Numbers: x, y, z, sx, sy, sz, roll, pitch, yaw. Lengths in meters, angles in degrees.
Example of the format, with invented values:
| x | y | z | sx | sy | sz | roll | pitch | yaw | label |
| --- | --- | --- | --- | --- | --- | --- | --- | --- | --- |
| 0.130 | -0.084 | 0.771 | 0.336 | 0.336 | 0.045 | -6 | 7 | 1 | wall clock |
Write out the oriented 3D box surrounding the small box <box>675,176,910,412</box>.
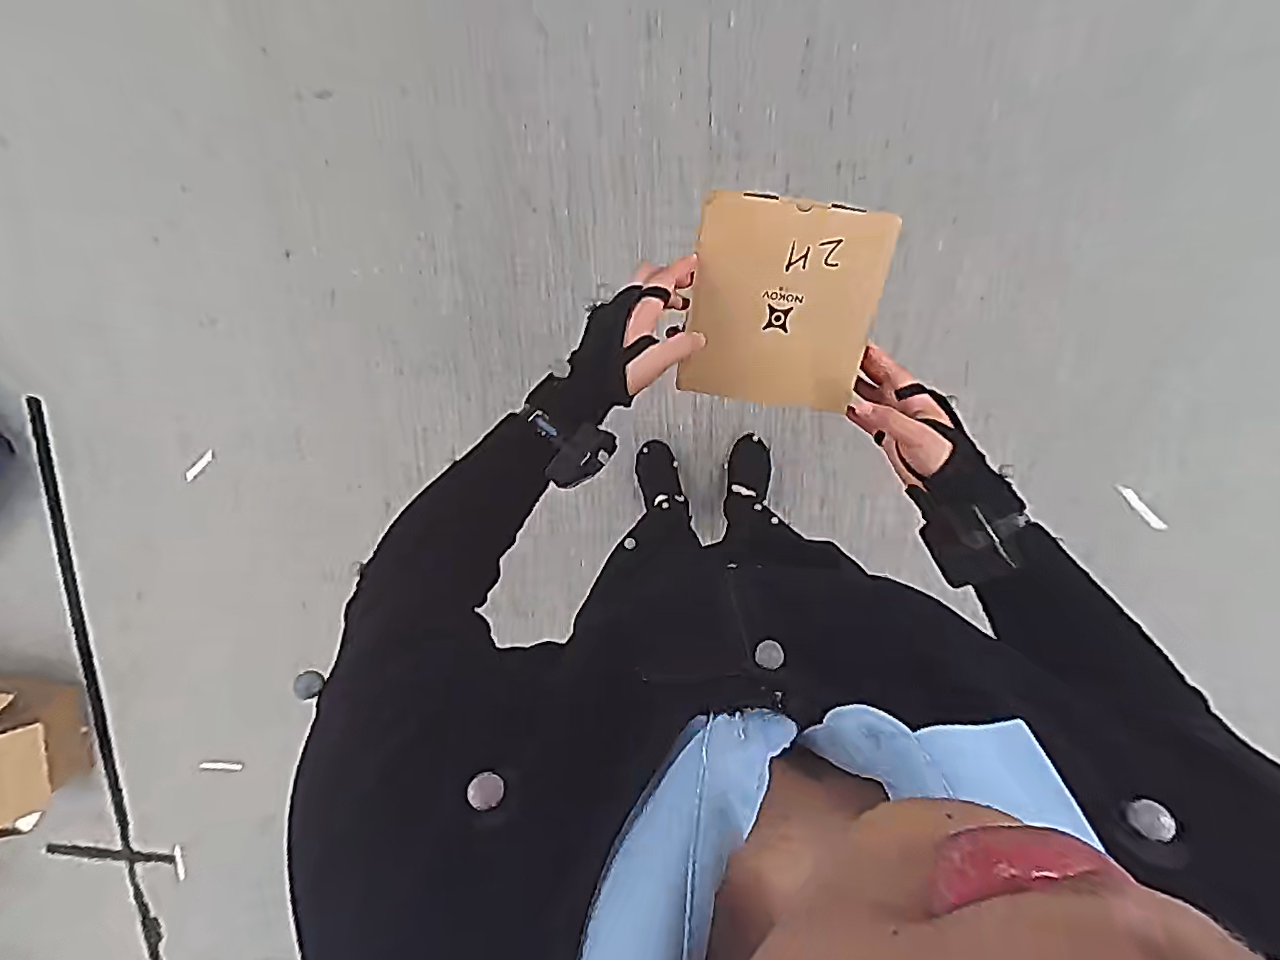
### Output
| x | y | z | sx | sy | sz | roll | pitch | yaw | label |
| --- | --- | --- | --- | --- | --- | --- | --- | --- | --- |
| 0.132 | -0.185 | 0.537 | 0.168 | 0.176 | 0.179 | 9 | 114 | 2 | small box |
